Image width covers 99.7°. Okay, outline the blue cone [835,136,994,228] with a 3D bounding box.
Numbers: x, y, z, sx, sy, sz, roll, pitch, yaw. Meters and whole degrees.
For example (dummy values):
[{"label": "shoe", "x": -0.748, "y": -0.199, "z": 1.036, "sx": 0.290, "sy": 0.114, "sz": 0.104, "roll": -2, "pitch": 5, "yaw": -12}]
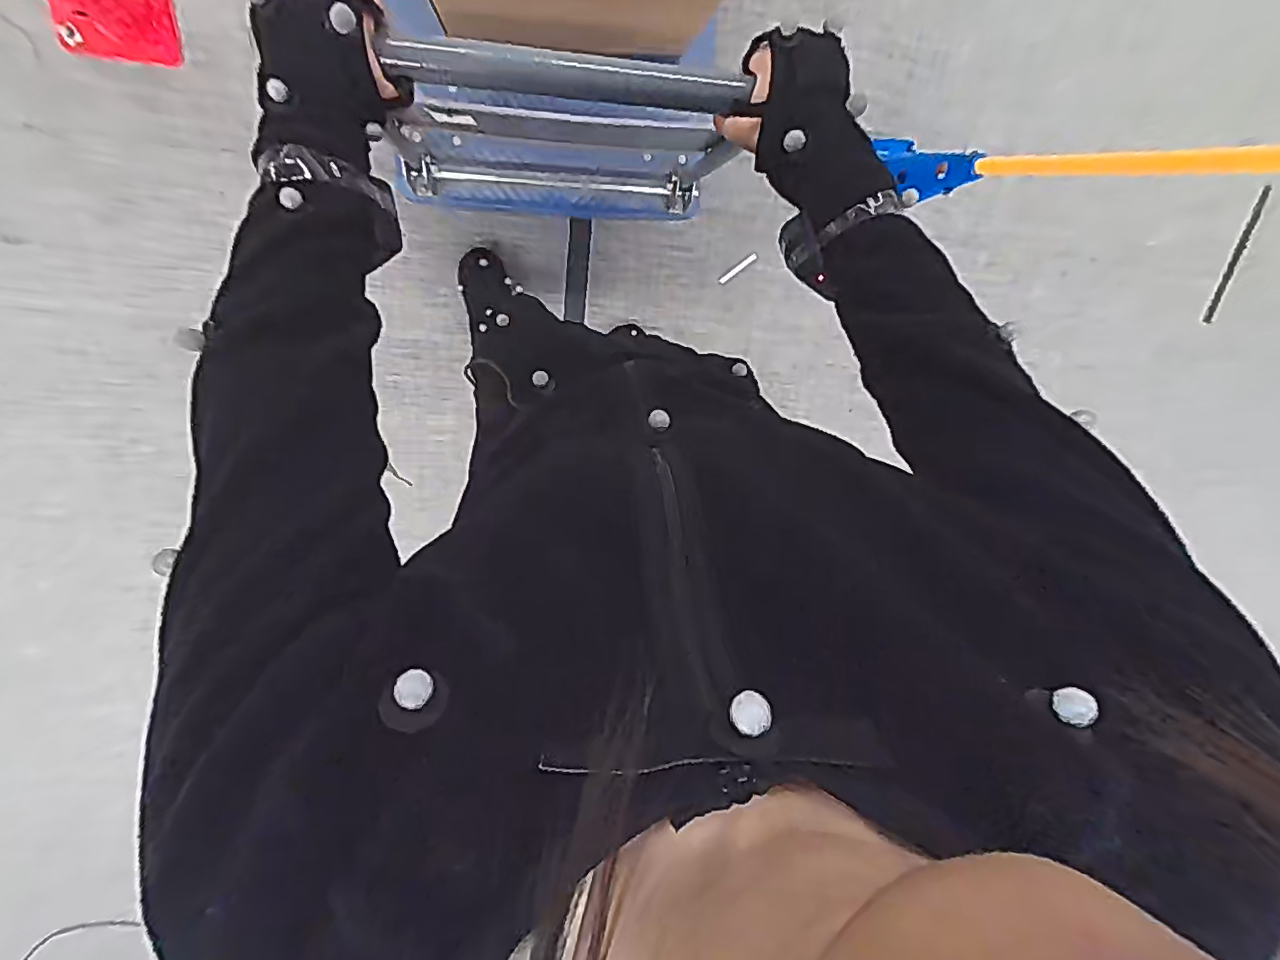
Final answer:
[{"label": "blue cone", "x": 0.589, "y": -0.647, "z": 1.141, "sx": 0.193, "sy": 0.380, "sz": 0.192, "roll": -2, "pitch": 112, "yaw": -10}]
